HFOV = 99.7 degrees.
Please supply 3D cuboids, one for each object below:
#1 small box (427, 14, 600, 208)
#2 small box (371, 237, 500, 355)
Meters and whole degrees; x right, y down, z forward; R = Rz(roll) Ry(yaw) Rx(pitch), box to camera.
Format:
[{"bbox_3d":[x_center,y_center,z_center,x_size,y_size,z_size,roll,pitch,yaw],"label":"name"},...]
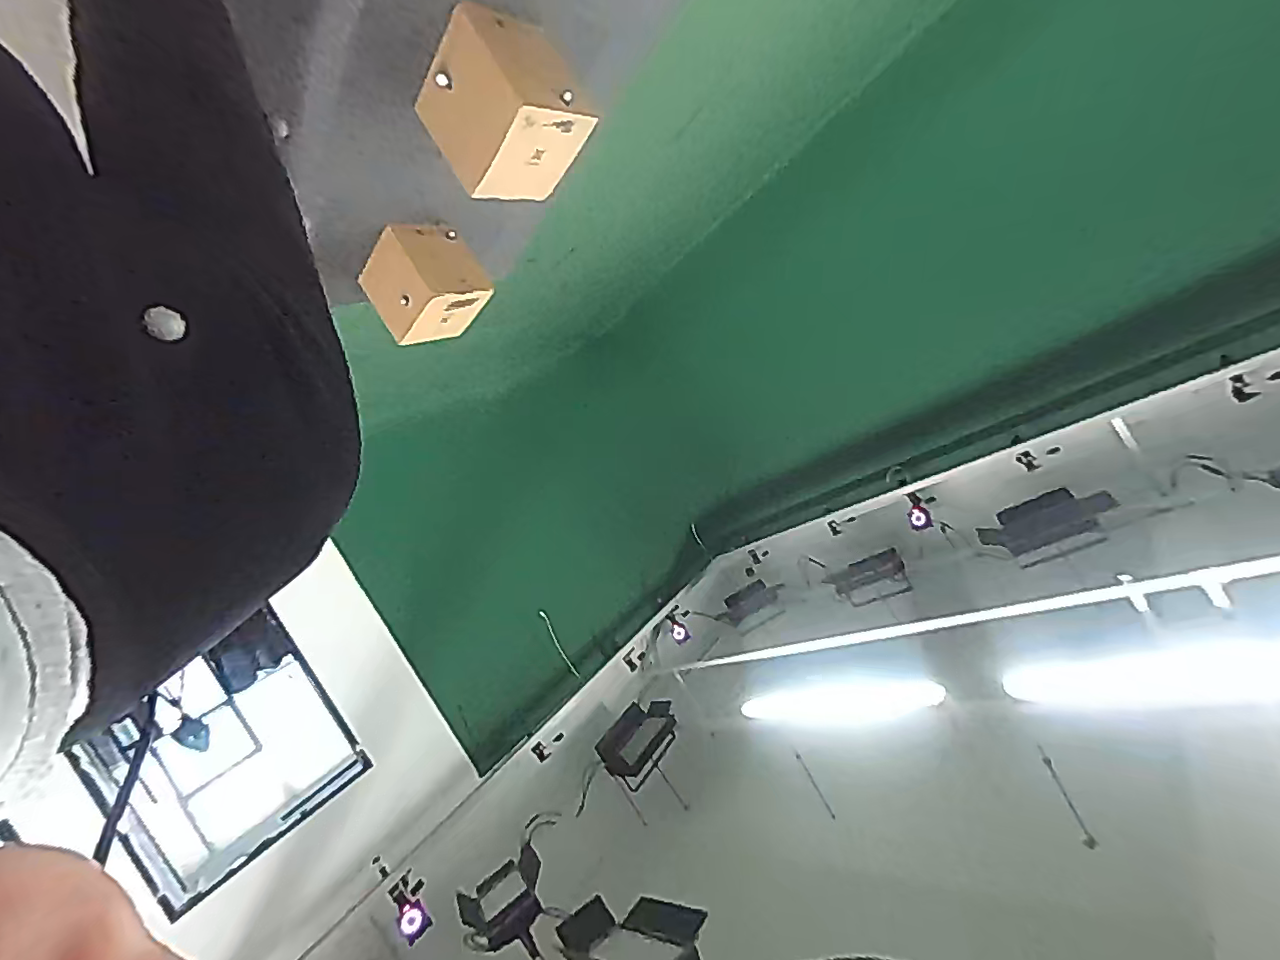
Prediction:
[{"bbox_3d":[-0.201,-0.557,0.842,0.179,0.176,0.168,-31,-179,44],"label":"small box"},{"bbox_3d":[-0.444,-0.399,1.163,0.179,0.176,0.168,-32,180,39],"label":"small box"}]
